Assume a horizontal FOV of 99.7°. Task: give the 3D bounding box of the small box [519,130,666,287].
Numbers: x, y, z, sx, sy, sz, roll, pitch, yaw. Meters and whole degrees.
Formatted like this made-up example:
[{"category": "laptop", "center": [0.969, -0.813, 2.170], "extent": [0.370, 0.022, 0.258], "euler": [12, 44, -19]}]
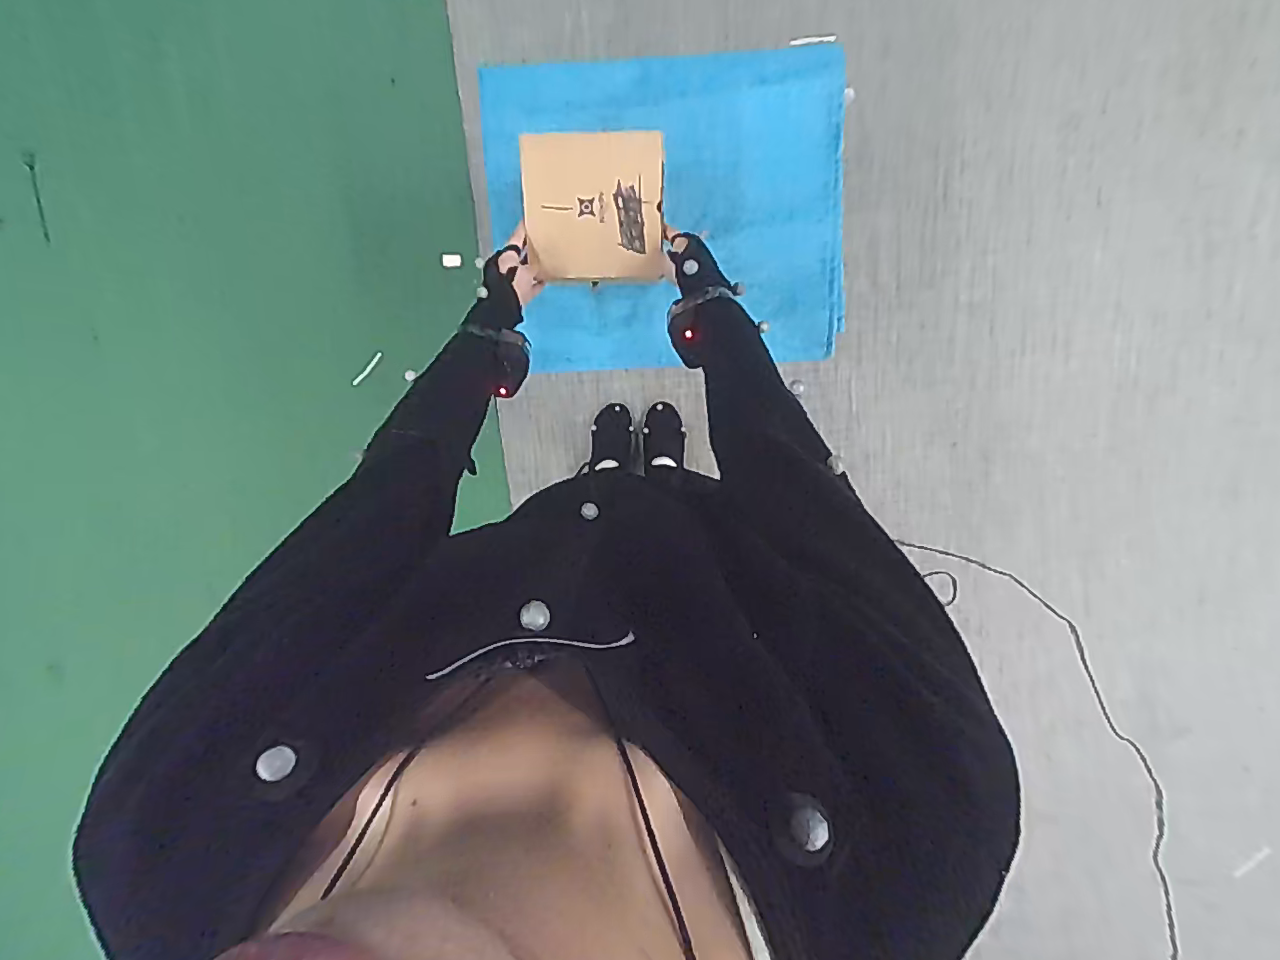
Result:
[{"category": "small box", "center": [-0.056, -0.357, 0.736], "extent": [0.179, 0.176, 0.168], "euler": [0, 106, 2]}]
